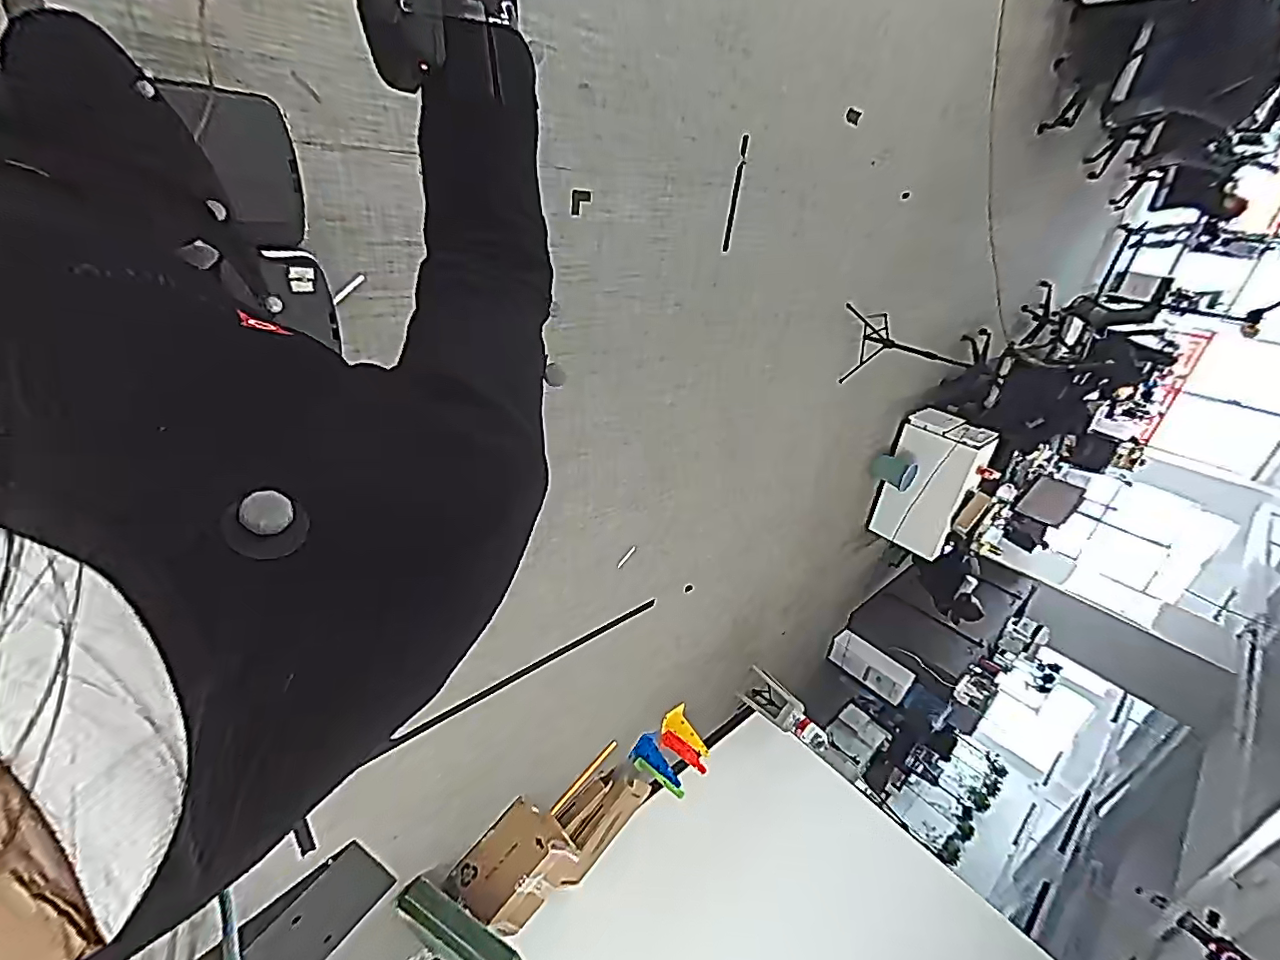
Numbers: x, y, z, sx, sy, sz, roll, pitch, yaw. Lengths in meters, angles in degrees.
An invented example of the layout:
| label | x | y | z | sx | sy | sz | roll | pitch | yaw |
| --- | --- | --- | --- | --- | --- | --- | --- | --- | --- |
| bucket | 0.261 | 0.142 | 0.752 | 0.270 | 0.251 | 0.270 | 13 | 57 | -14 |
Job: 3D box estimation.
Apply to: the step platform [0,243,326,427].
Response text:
| label | x | y | z | sx | sy | sz | roll | pitch | yaw |
| --- | --- | --- | --- | --- | --- | --- | --- | --- | --- |
| step platform | -1.010 | -0.298 | 1.058 | 0.684 | 0.204 | 0.286 | -18 | 127 | -36 |
